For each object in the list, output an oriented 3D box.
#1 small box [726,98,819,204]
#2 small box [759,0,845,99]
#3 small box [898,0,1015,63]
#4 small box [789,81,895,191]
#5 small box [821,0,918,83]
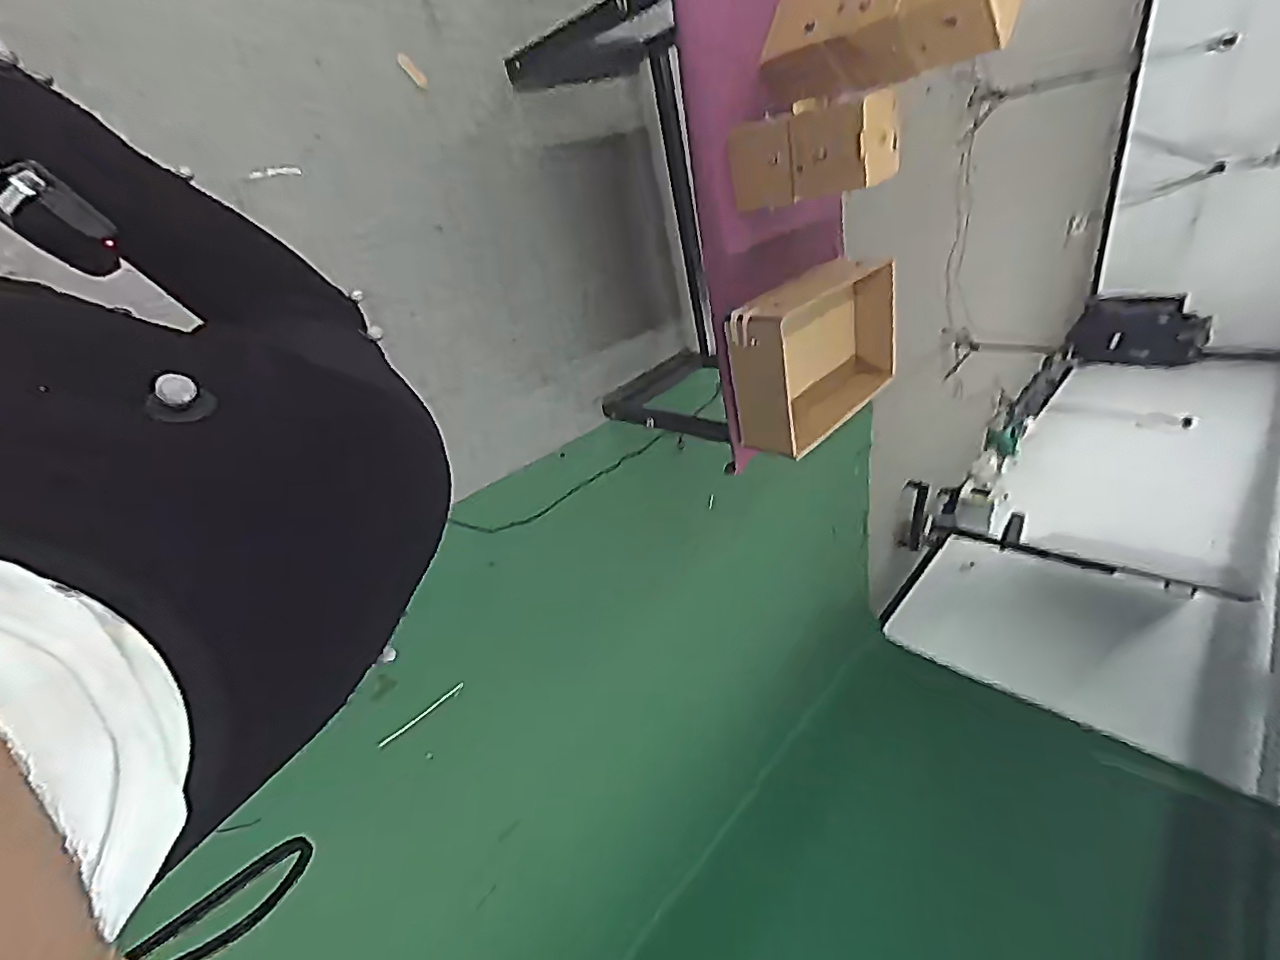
[{"bbox_3d":[0.326,-0.791,1.310,0.168,0.176,0.179,-38,128,-31],"label":"small box"},{"bbox_3d":[0.411,-1.068,1.303,0.168,0.176,0.179,17,91,-47],"label":"small box"},{"bbox_3d":[0.639,-0.993,1.084,0.168,0.176,0.179,15,93,-46],"label":"small box"},{"bbox_3d":[0.444,-0.758,1.201,0.179,0.176,0.168,-37,127,-32],"label":"small box"},{"bbox_3d":[0.528,-1.027,1.197,0.179,0.176,0.168,18,92,-47],"label":"small box"}]
